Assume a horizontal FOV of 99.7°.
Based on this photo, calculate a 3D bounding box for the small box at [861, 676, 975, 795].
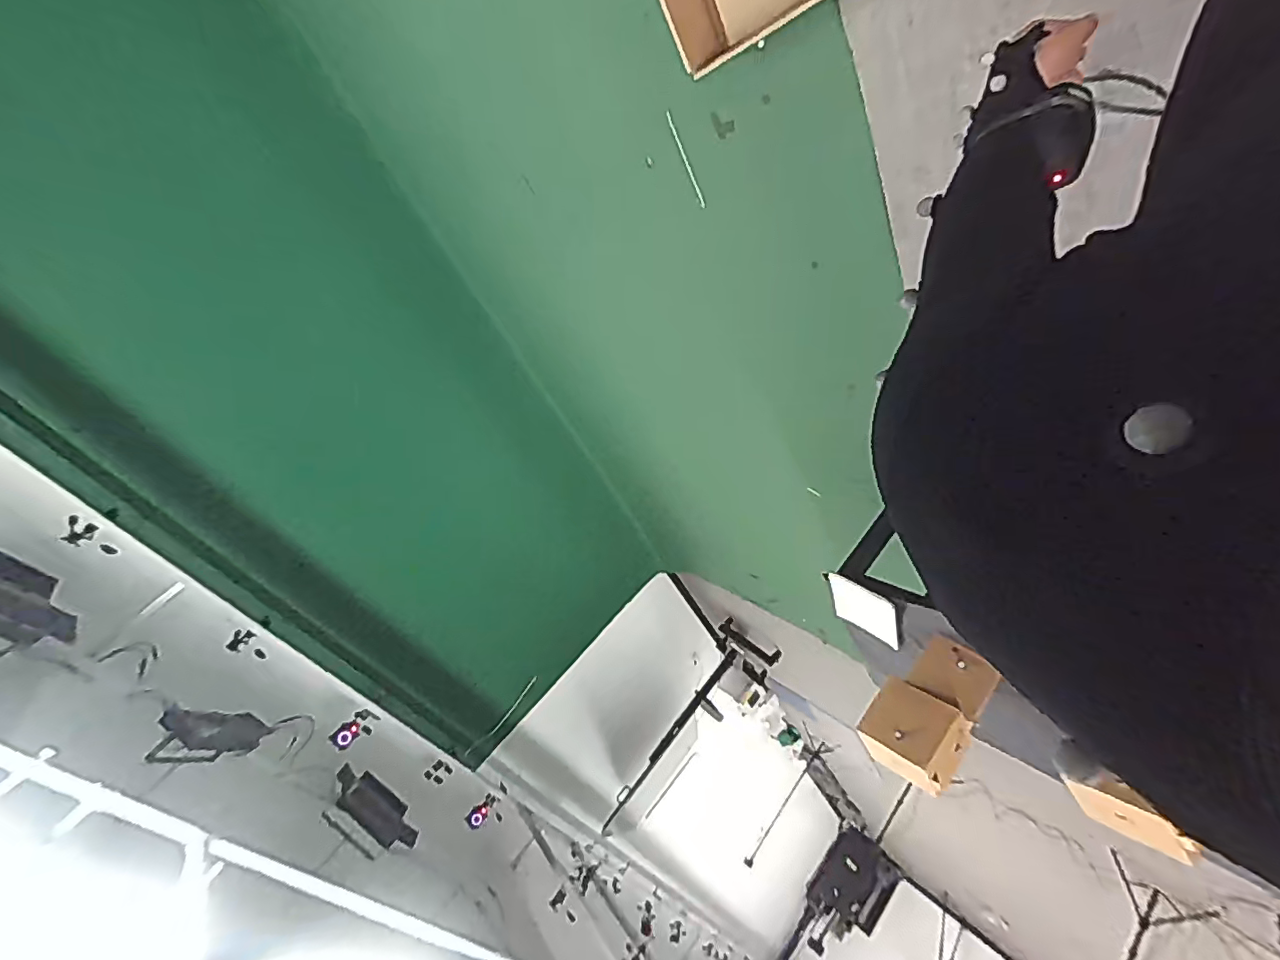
[{"bbox_3d":[0.674,0.606,1.308,0.179,0.176,0.168,16,147,52],"label":"small box"}]

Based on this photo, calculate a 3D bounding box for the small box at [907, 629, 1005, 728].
[{"bbox_3d":[0.795,0.515,1.373,0.168,0.176,0.179,28,155,38],"label":"small box"}]

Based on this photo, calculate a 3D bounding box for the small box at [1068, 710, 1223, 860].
[{"bbox_3d":[1.026,0.602,1.094,0.168,0.176,0.179,51,160,-16],"label":"small box"}]
